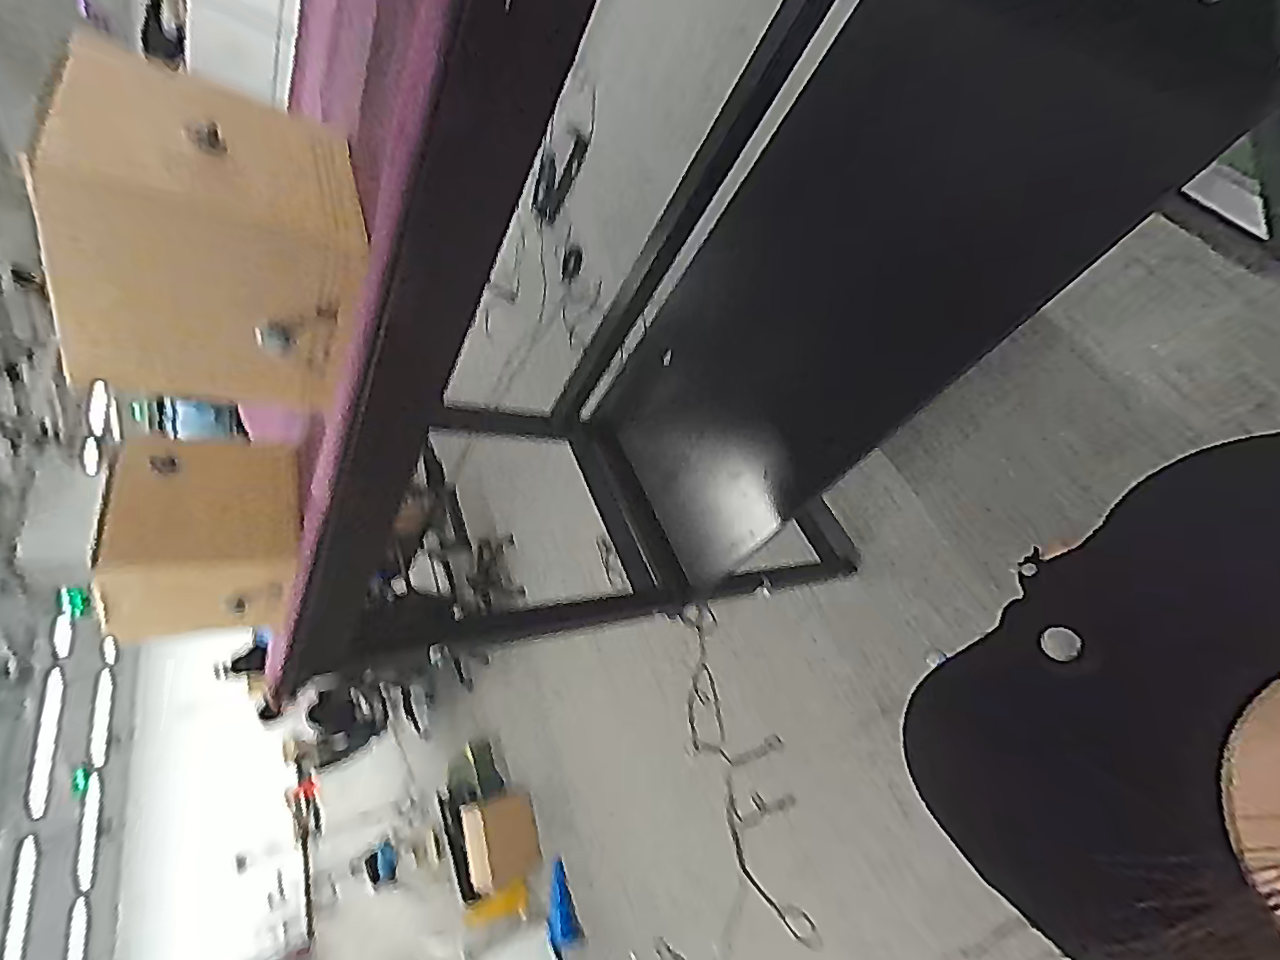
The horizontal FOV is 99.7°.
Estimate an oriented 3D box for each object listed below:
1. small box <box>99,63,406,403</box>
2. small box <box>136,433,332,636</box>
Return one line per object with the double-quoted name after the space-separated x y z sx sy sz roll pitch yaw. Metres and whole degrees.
-0.308 -0.180 0.441 0.168 0.176 0.179 -51 53 38 "small box"
-0.486 0.067 0.657 0.168 0.176 0.179 -52 50 37 "small box"
